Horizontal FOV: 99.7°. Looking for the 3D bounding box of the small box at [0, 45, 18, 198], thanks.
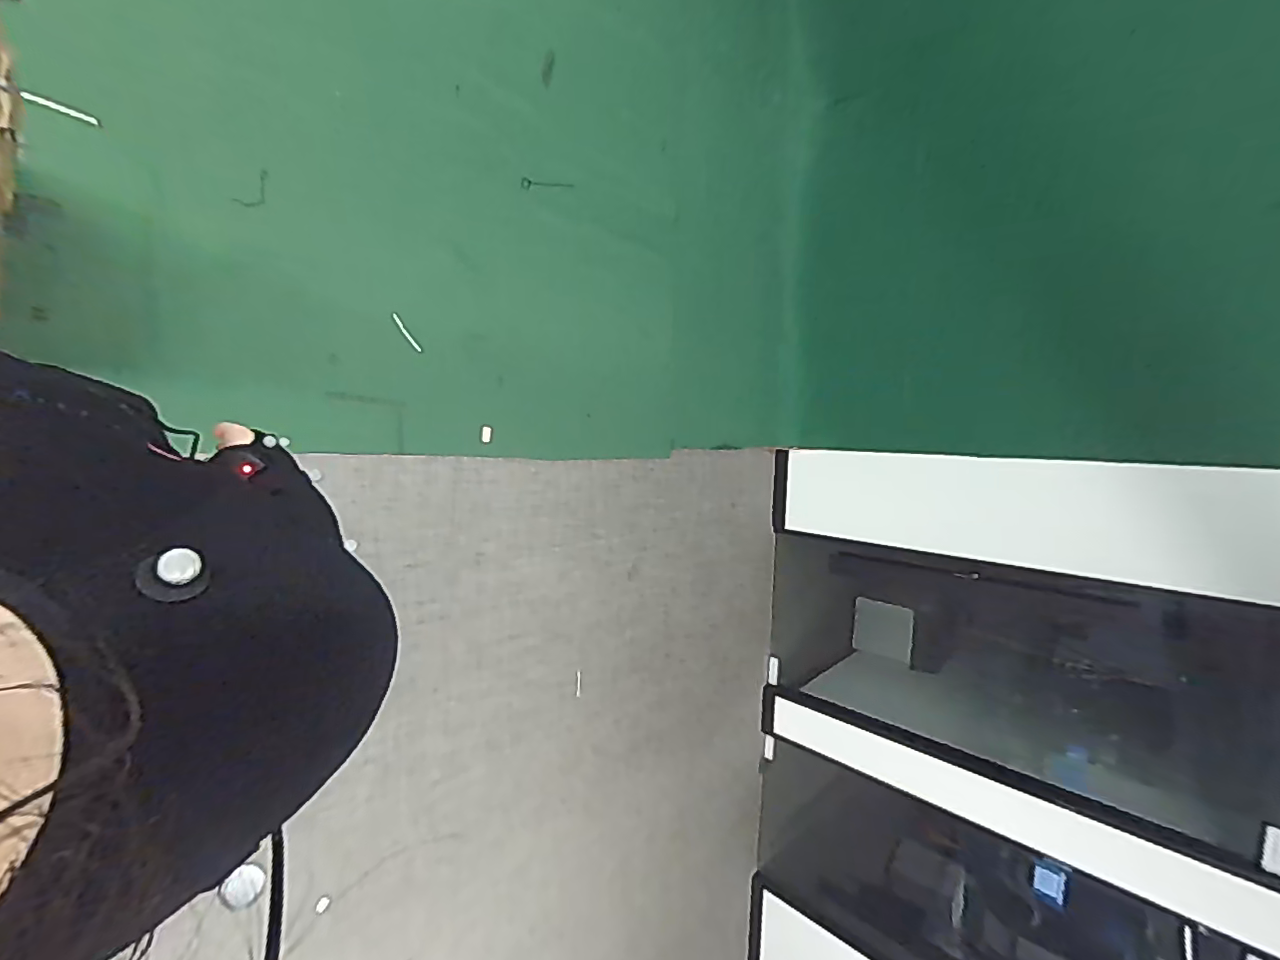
[{"bbox_3d":[-0.900,-0.464,0.657,0.179,0.176,0.168,7,89,-46],"label":"small box"}]
